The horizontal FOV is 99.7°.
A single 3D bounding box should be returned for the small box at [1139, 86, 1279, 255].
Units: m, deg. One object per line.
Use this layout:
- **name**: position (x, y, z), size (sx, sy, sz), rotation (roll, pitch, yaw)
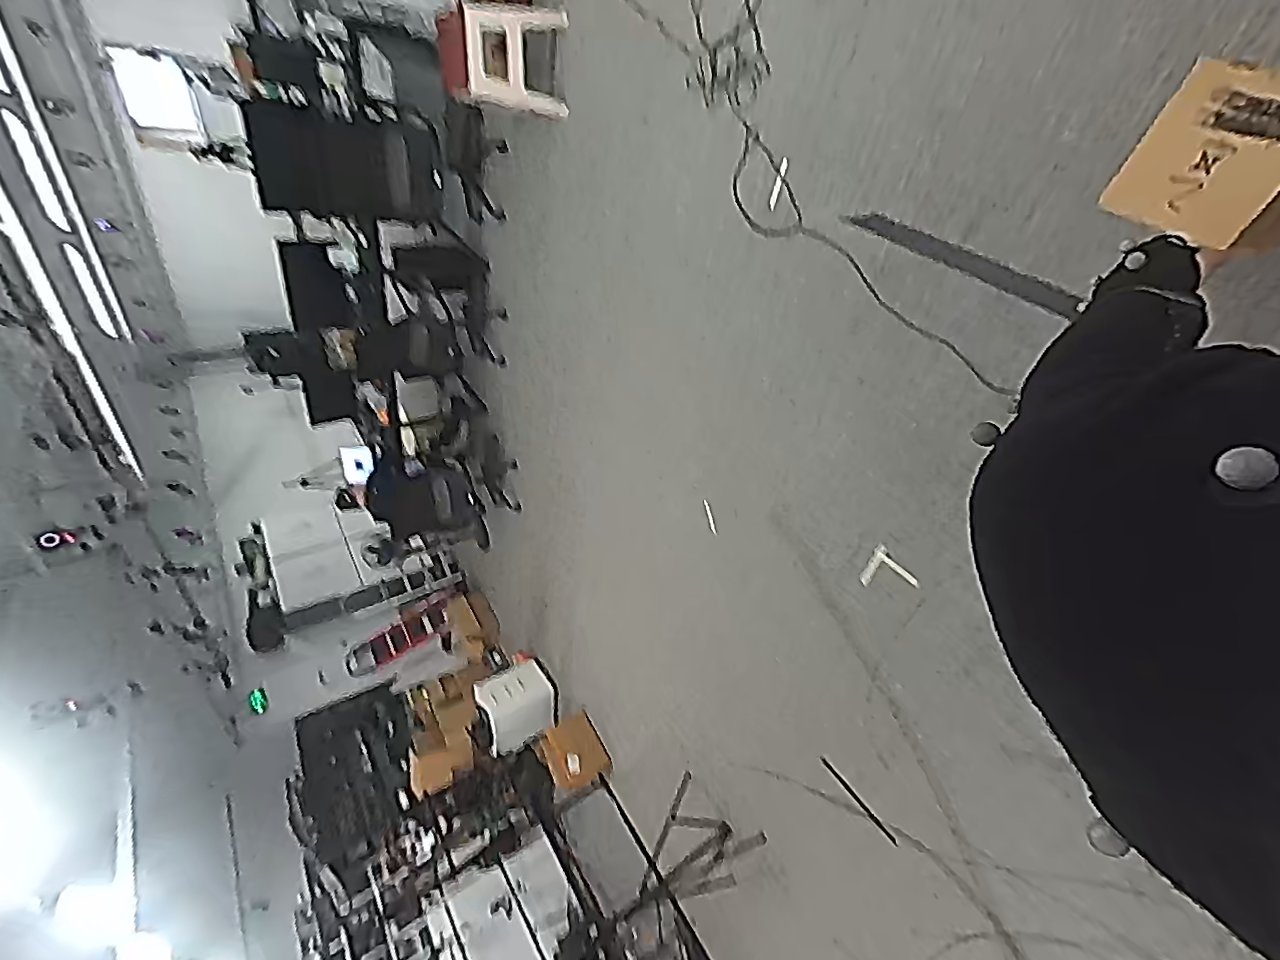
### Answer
- **small box**: position (0.913, -0.453, 0.802), size (0.168, 0.176, 0.179), rotation (47, 140, 34)
